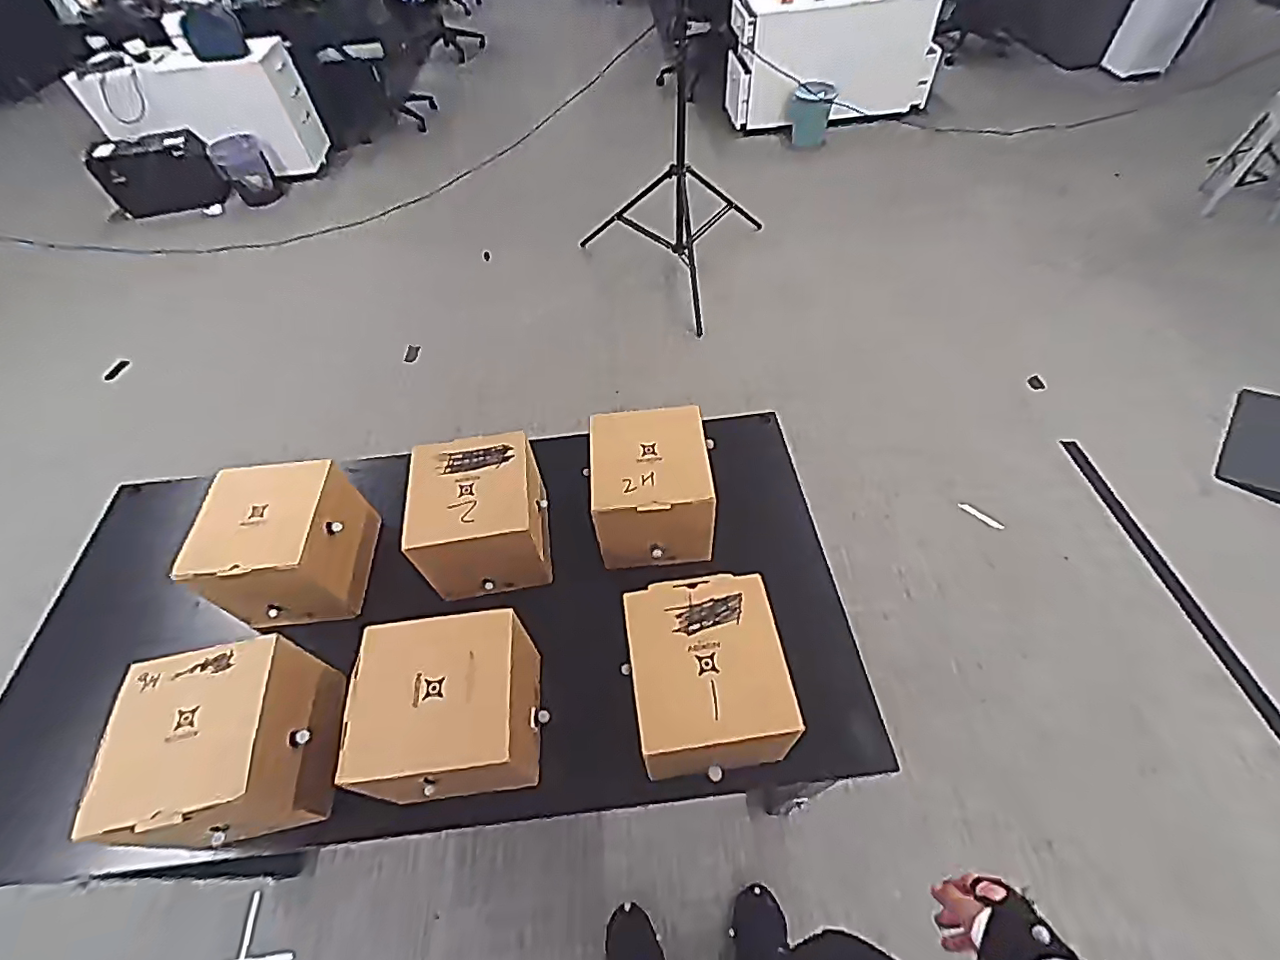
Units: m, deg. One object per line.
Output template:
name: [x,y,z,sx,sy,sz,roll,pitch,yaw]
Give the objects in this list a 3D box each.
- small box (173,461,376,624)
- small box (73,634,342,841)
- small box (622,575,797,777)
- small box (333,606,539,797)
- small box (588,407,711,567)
small box: [-0.517,0.095,0.802,0.168,0.176,0.179,-6,54,0]
small box: [-0.480,0.308,0.639,0.168,0.176,0.179,-12,54,-4]
small box: [0.072,0.239,0.652,0.168,0.176,0.179,-8,54,-1]
small box: [-0.226,0.271,0.652,0.179,0.176,0.168,-7,54,-2]
small box: [0.012,0.013,0.824,0.168,0.176,0.179,-6,53,1]
